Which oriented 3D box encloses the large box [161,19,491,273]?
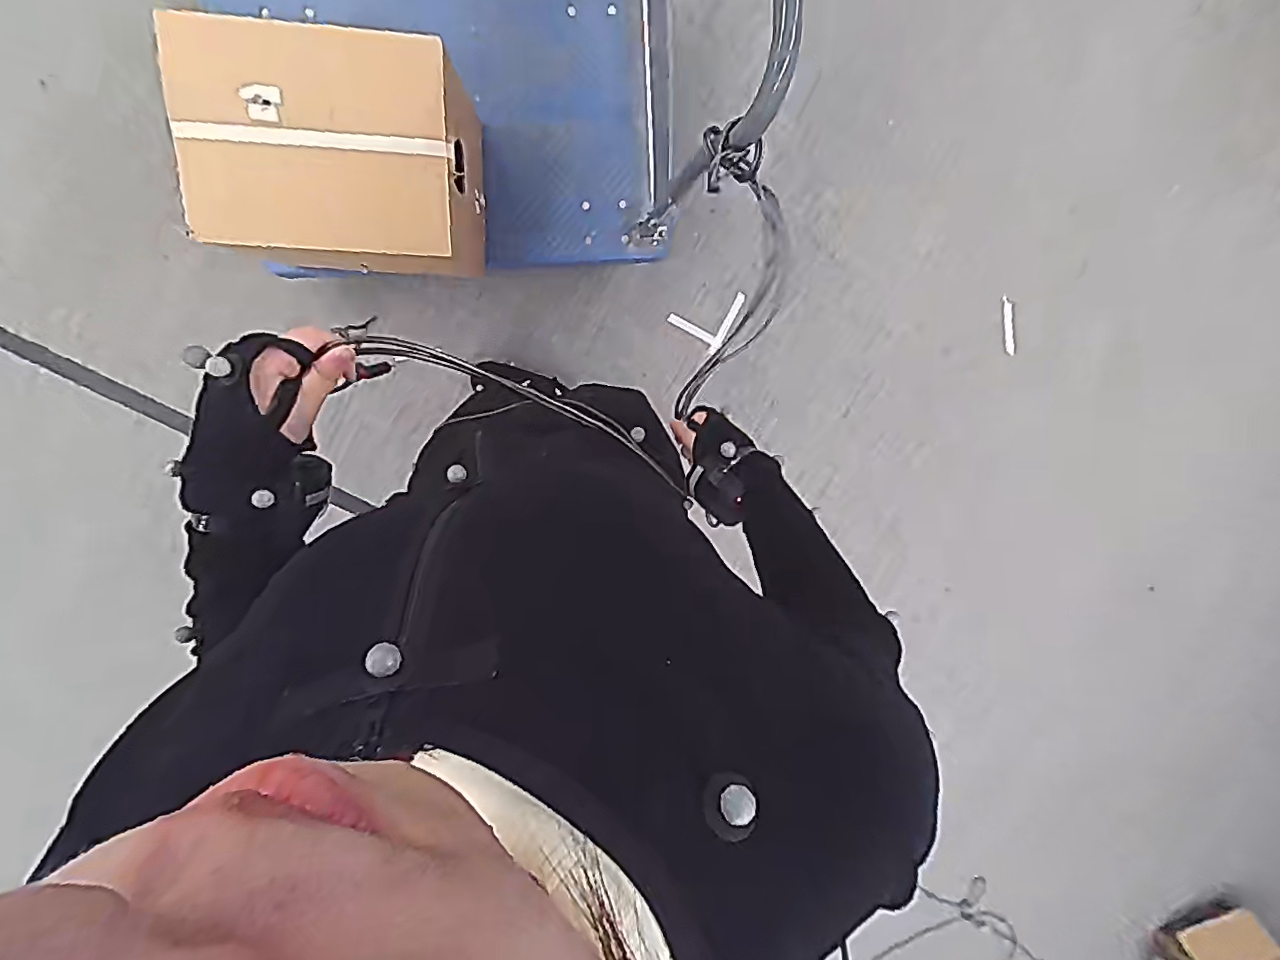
[{"bbox_3d":[-0.504,-0.552,0.971,0.408,0.320,0.320,1,104,-5],"label":"large box"}]
